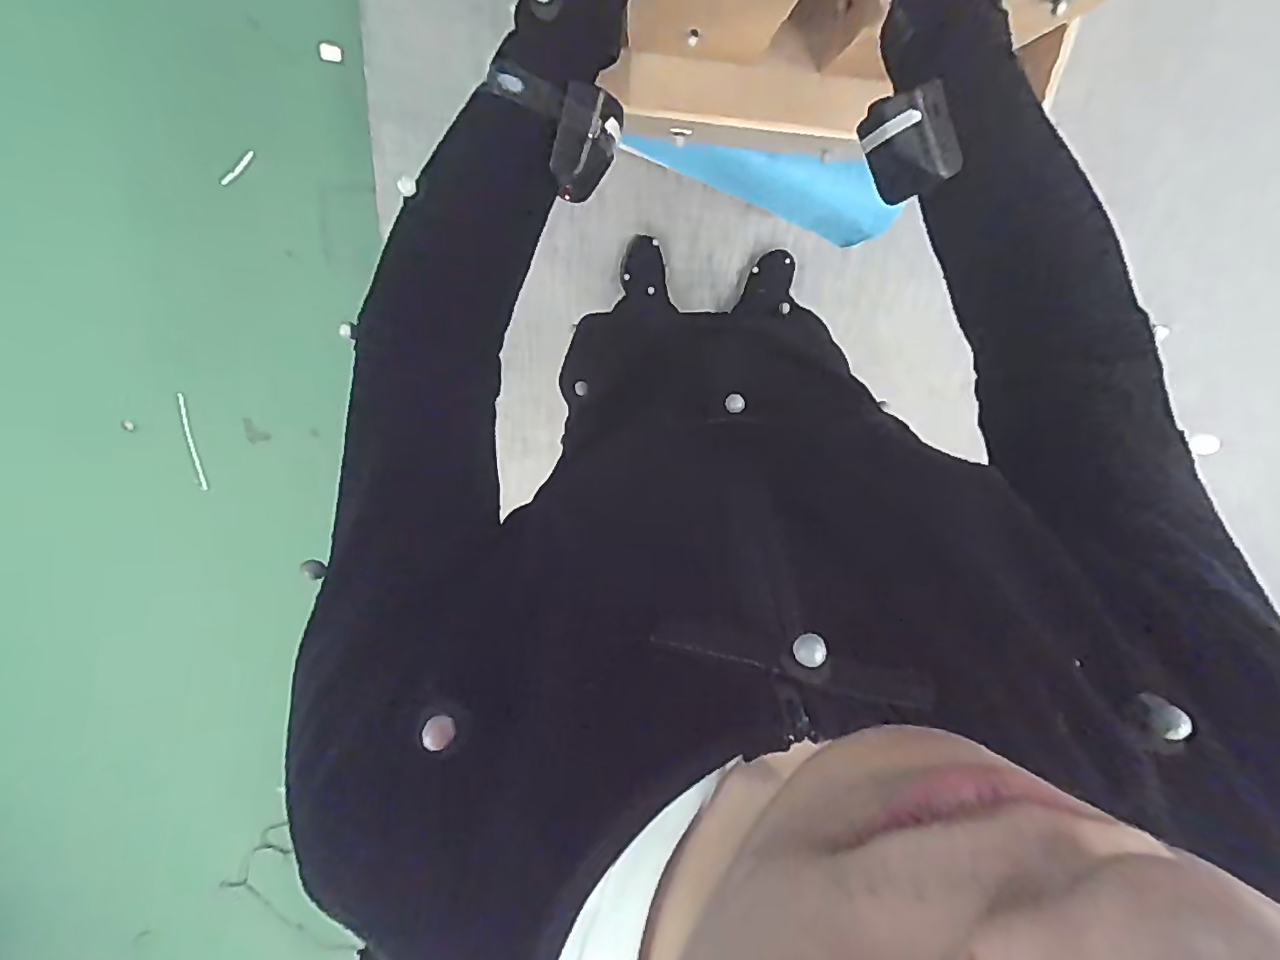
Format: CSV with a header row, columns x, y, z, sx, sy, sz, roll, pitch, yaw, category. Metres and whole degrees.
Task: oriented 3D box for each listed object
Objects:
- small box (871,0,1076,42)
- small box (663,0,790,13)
x,y,z,sx,sy,sz,roll,pitch,yaw,category
0.337,-0.530,0.488,0.179,0.176,0.168,6,114,-2,small box
0.081,-0.550,0.476,0.179,0.176,0.168,5,113,-2,small box
